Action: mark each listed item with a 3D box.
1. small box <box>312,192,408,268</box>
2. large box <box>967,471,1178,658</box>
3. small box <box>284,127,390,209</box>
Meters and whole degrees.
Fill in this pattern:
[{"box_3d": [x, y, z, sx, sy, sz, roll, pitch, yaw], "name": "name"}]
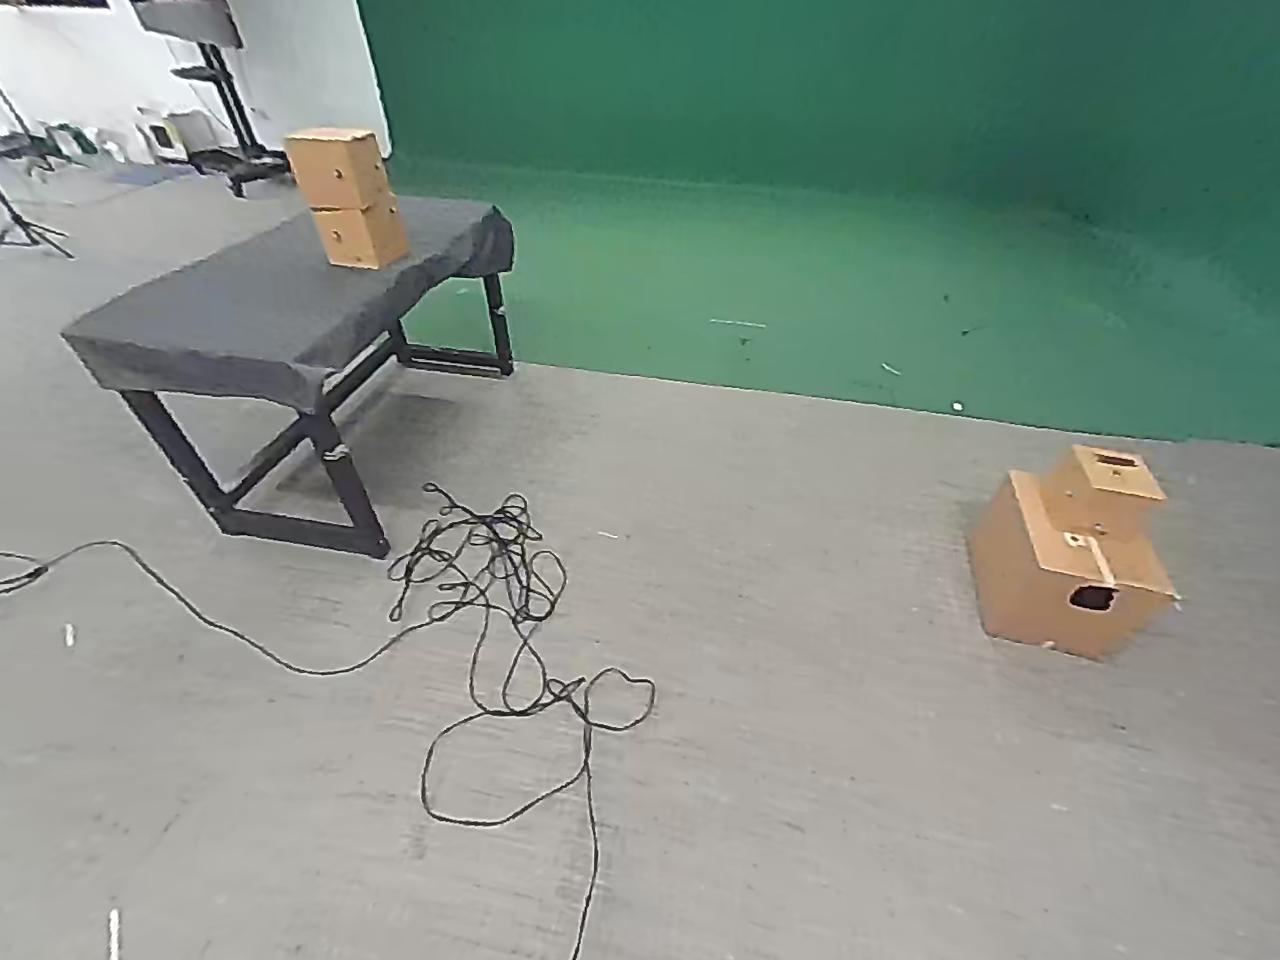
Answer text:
[{"box_3d": [-0.824, -0.749, 1.616, 0.168, 0.176, 0.179, 9, 43, 9], "name": "small box"}, {"box_3d": [1.213, 0.238, 1.582, 0.320, 0.320, 0.408, 11, 45, 11], "name": "large box"}, {"box_3d": [-0.826, -0.863, 1.499, 0.179, 0.176, 0.168, 4, 41, 5], "name": "small box"}]
